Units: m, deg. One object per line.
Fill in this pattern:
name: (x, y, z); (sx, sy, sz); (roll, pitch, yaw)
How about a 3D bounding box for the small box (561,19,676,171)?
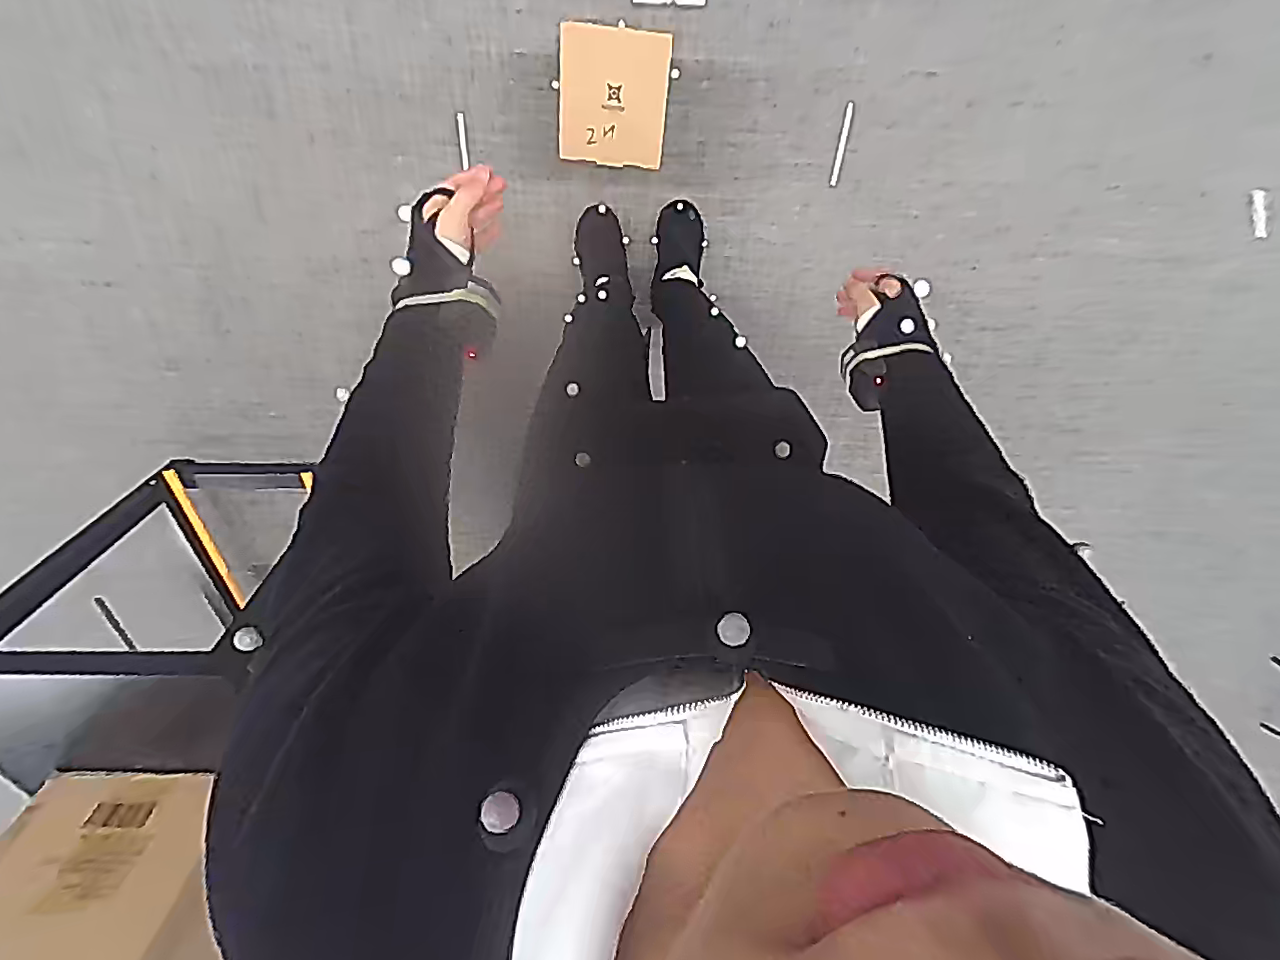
small box: (-0.040, -0.626, 0.890); (0.168, 0.176, 0.179); (4, 126, -4)
